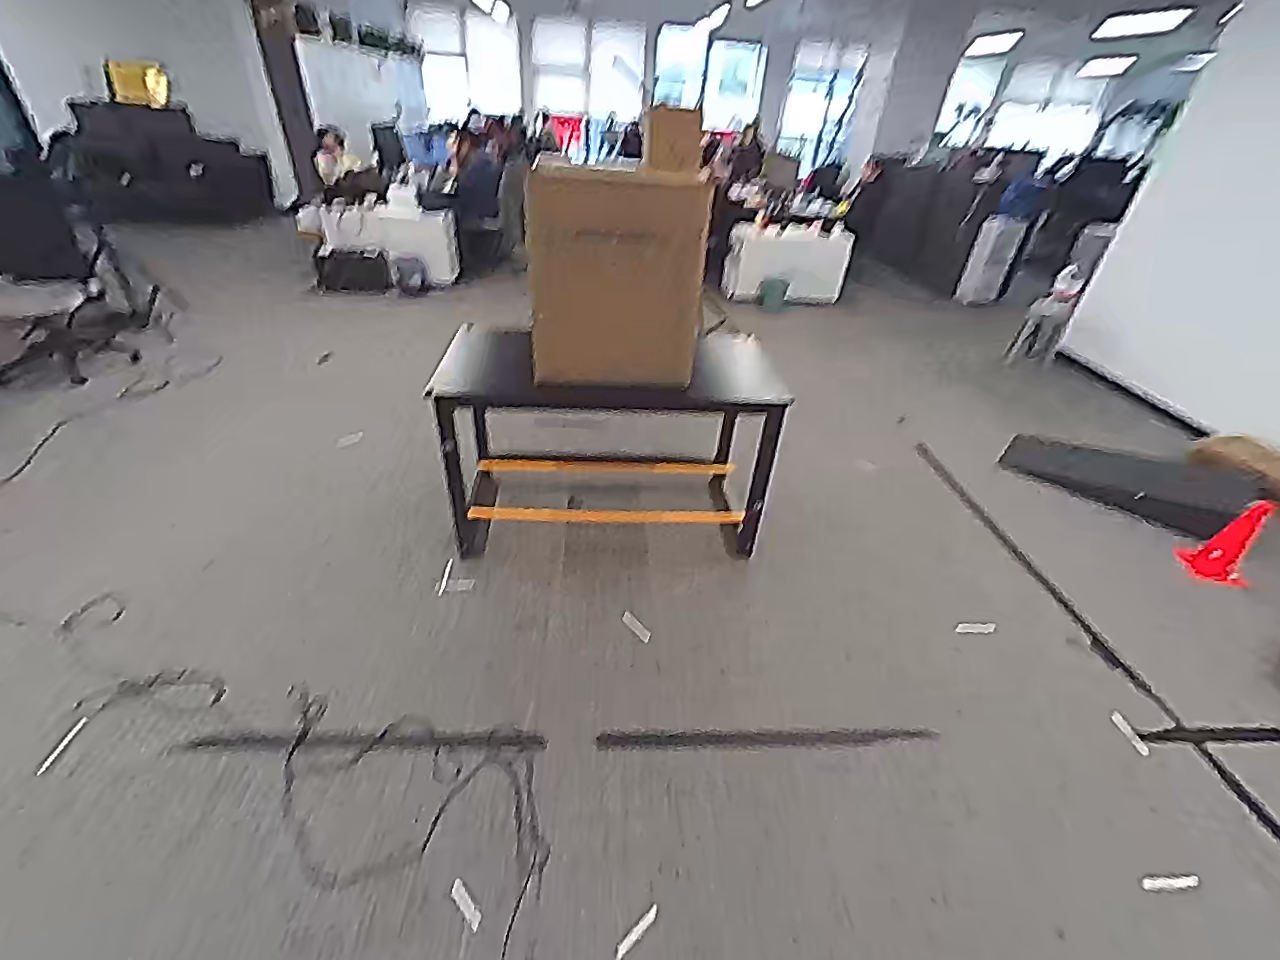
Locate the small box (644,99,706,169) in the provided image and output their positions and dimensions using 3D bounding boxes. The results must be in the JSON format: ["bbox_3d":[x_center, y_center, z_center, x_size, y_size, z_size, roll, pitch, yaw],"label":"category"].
[{"bbox_3d":[0.103,-1.067,1.671,0.168,0.176,0.179,-1,33,-5],"label":"small box"}]
